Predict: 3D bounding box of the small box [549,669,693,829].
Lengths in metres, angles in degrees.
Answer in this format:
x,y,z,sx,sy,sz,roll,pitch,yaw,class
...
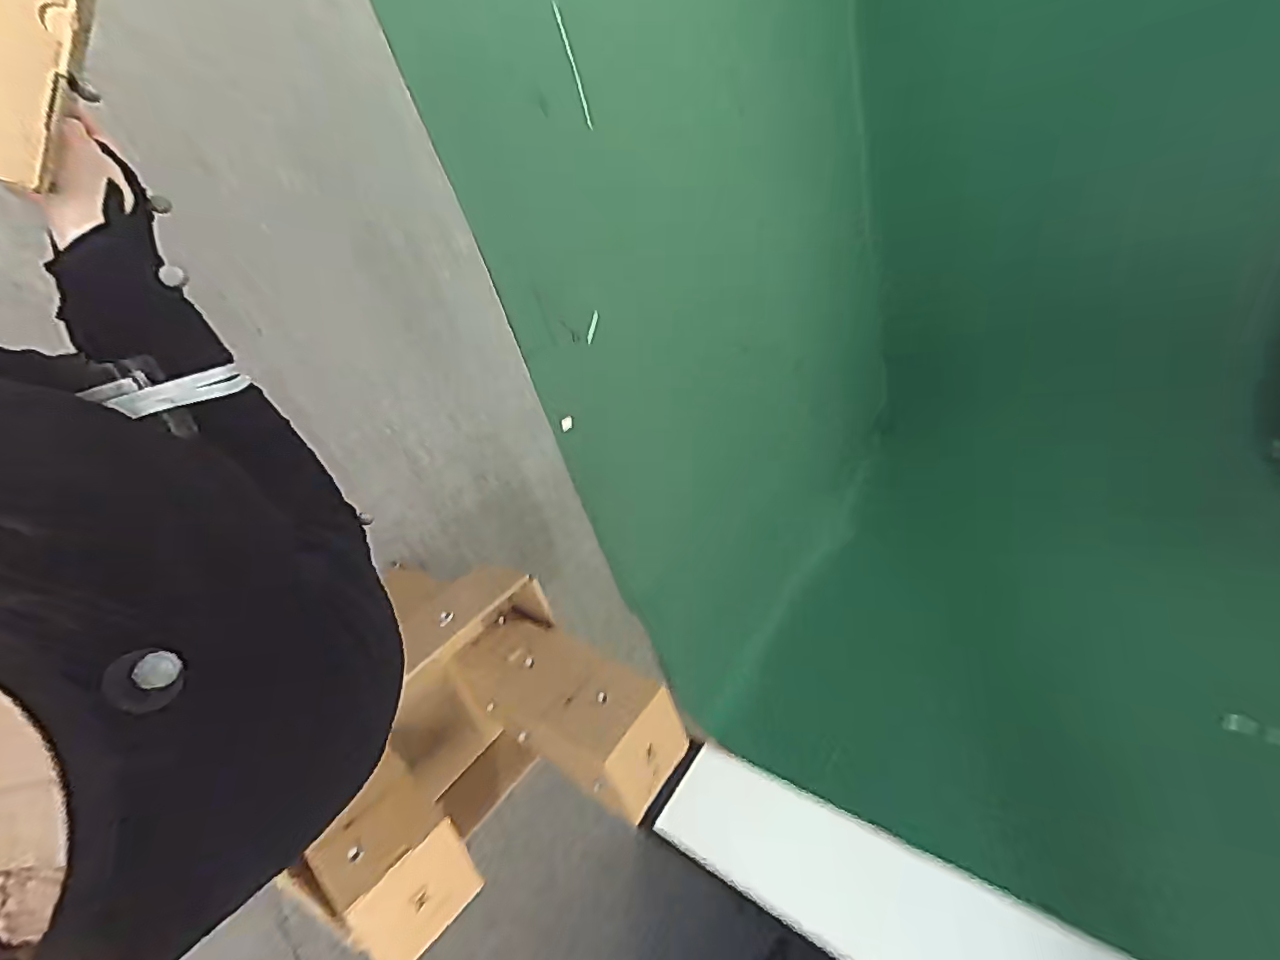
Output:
x,y,z,sx,sy,sz,roll,pitch,yaw,class
-0.035,0.468,0.974,0.168,0.176,0.179,-39,122,-36,small box

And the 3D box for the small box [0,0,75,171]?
x,y,z,sx,sy,sz,roll,pitch,yaw,class
-0.397,-0.264,0.250,0.179,0.176,0.168,8,105,-47,small box

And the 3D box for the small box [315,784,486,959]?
x,y,z,sx,sy,sz,roll,pitch,yaw,class
-0.384,0.628,0.866,0.168,0.176,0.179,-32,119,-38,small box

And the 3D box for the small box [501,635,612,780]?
x,y,z,sx,sy,sz,roll,pitch,yaw,class
-0.154,0.447,1.087,0.179,0.176,0.168,-41,124,-35,small box
